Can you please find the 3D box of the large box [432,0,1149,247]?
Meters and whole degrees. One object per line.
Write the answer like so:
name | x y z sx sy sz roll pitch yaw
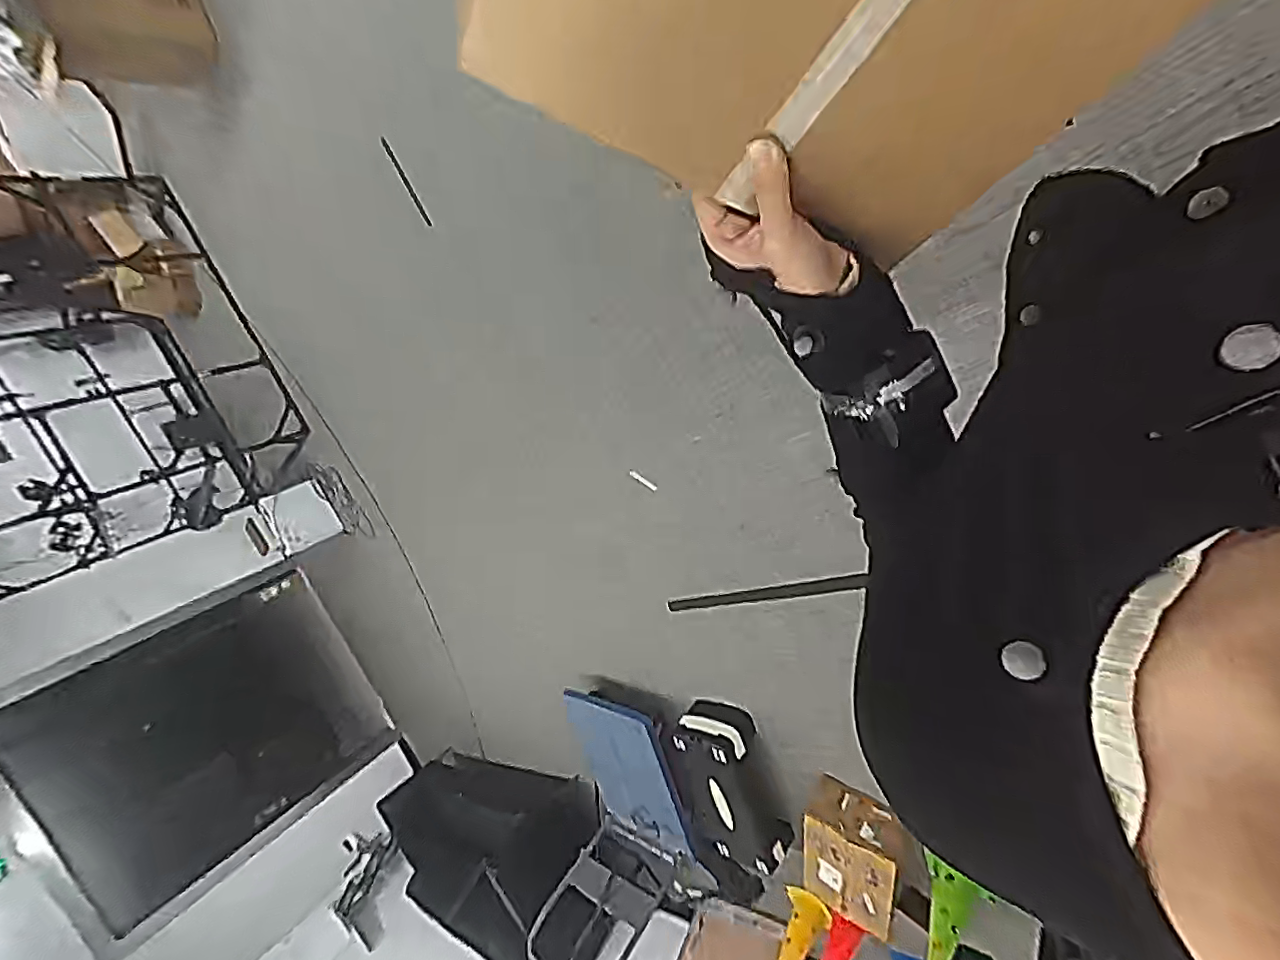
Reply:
large box | 0.115 -0.399 0.225 0.408 0.320 0.320 -42 50 48
